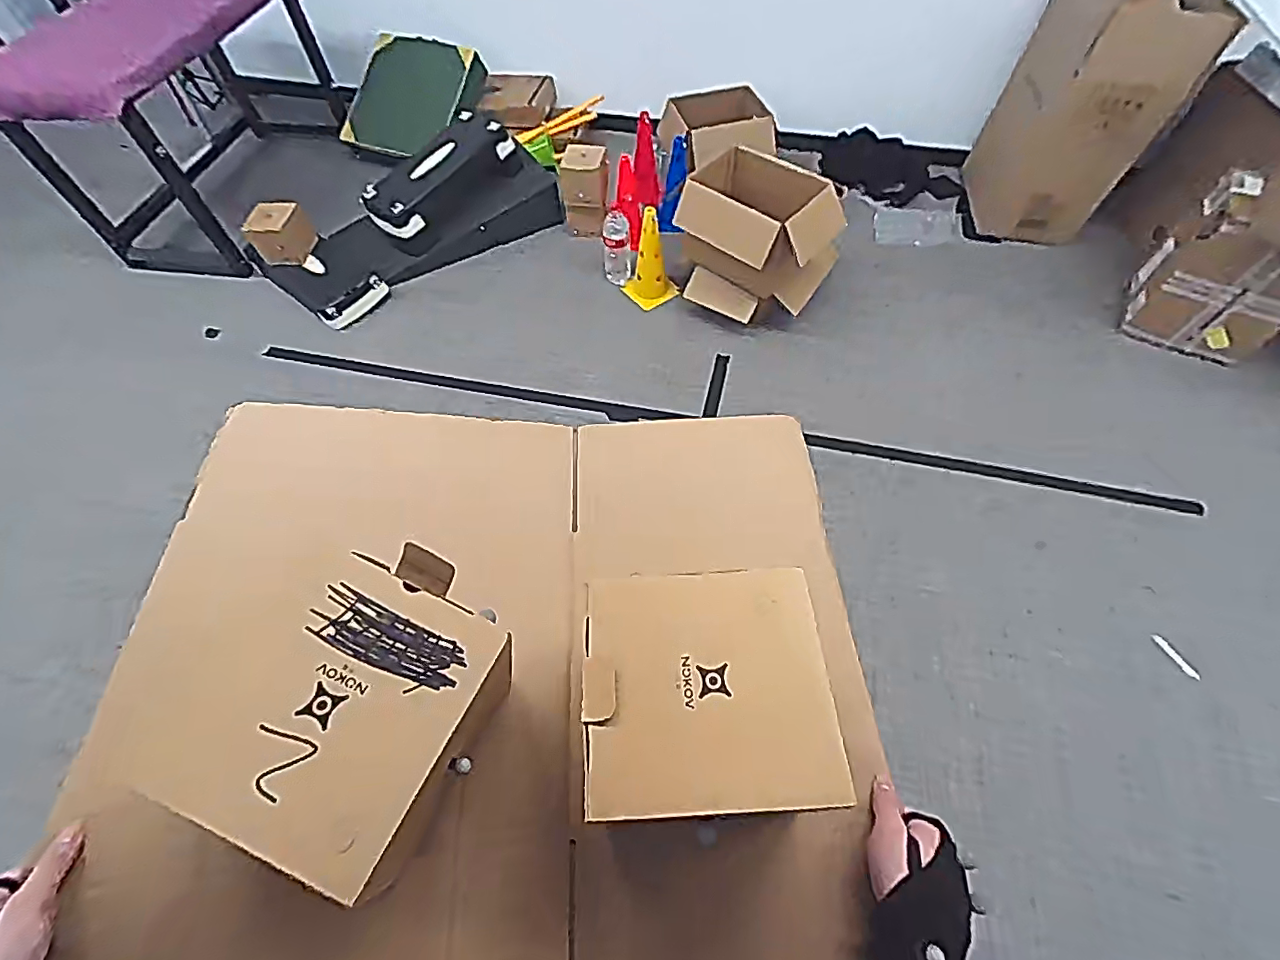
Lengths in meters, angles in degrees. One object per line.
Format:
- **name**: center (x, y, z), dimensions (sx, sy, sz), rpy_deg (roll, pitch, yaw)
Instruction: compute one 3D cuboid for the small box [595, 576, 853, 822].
- **small box**: center (0.056, 0.193, 0.470), dimensions (0.179, 0.176, 0.168), rpy_deg (-4, 58, 0)
